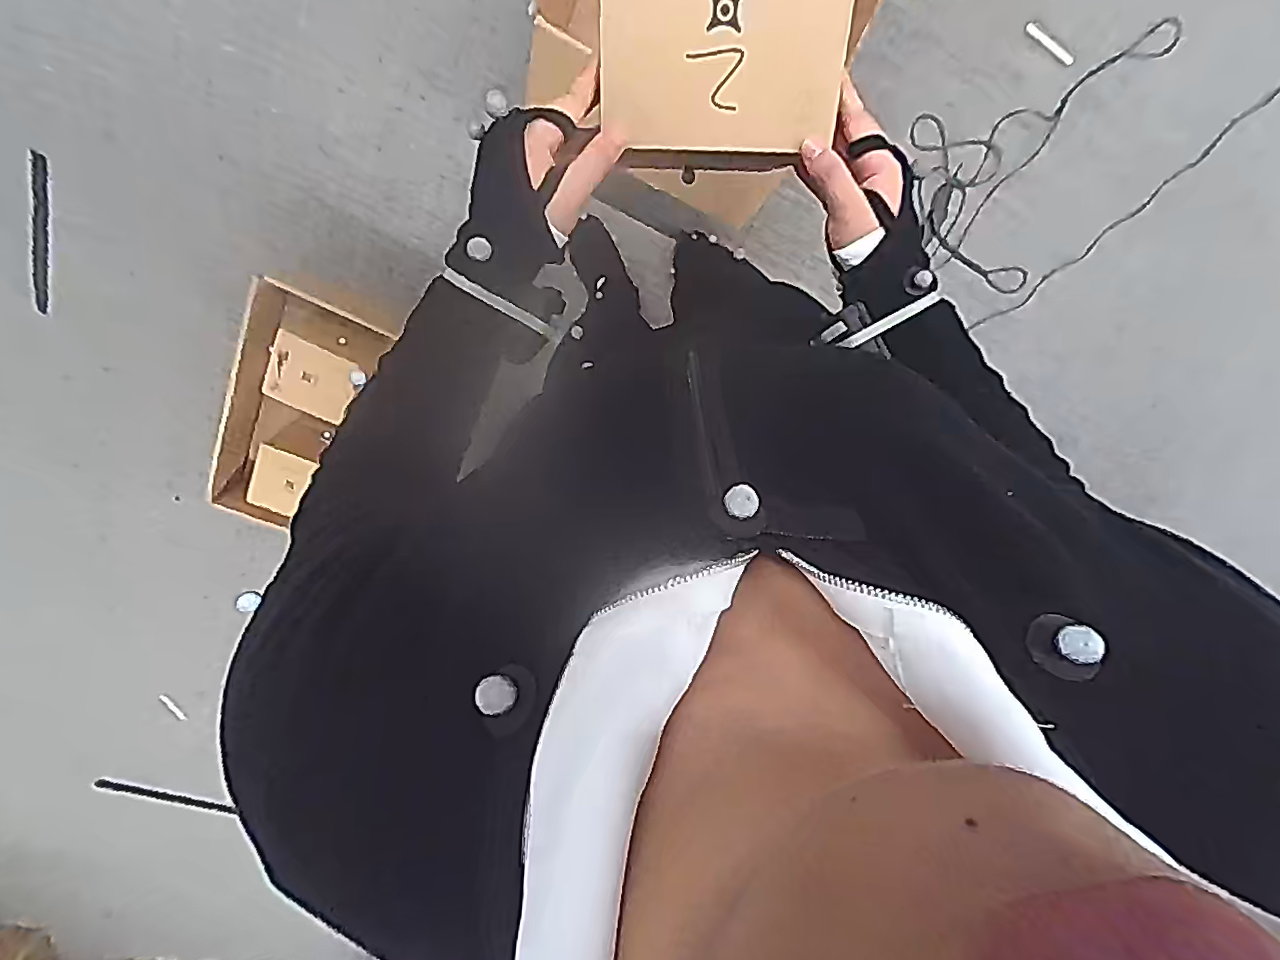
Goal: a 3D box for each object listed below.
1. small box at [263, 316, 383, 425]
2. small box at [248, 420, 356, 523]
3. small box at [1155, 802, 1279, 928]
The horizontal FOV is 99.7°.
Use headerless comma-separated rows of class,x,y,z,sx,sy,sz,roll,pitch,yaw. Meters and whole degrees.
small box,-0.734,-0.263,1.269,0.179,0.176,0.168,25,113,-18
small box,-0.856,-0.025,1.382,0.168,0.176,0.179,22,111,-17
small box,1.352,0.866,1.223,0.179,0.176,0.168,23,113,-14
